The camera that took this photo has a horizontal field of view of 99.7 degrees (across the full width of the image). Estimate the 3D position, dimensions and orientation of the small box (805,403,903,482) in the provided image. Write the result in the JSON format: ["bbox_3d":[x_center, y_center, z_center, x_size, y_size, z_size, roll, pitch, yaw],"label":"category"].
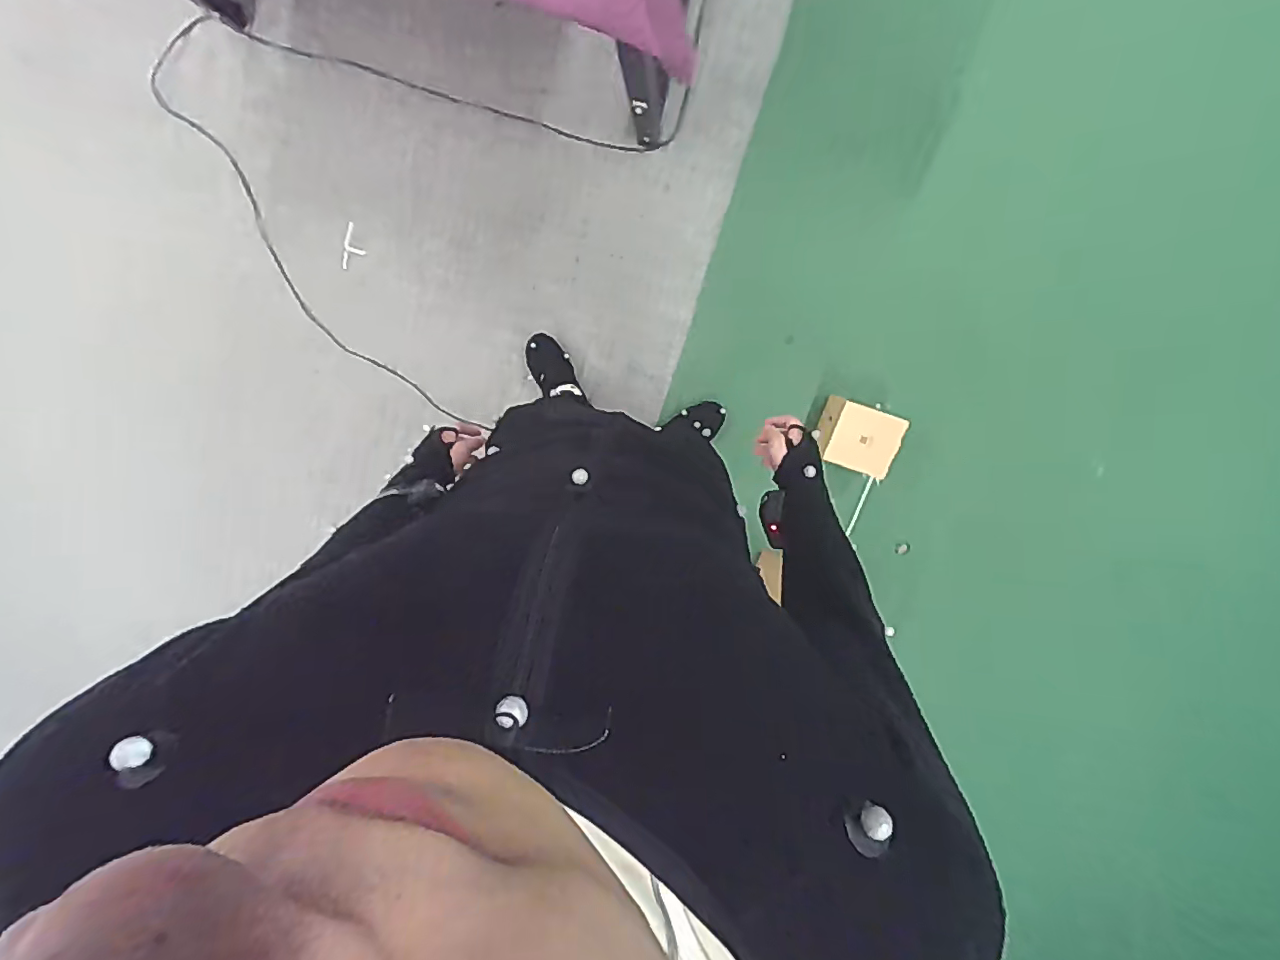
[{"bbox_3d":[0.581,-0.111,1.495,0.179,0.176,0.168,18,104,-2],"label":"small box"}]

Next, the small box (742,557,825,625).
[{"bbox_3d":[0.420,0.350,1.614,0.179,0.176,0.168,19,104,-2],"label":"small box"}]
